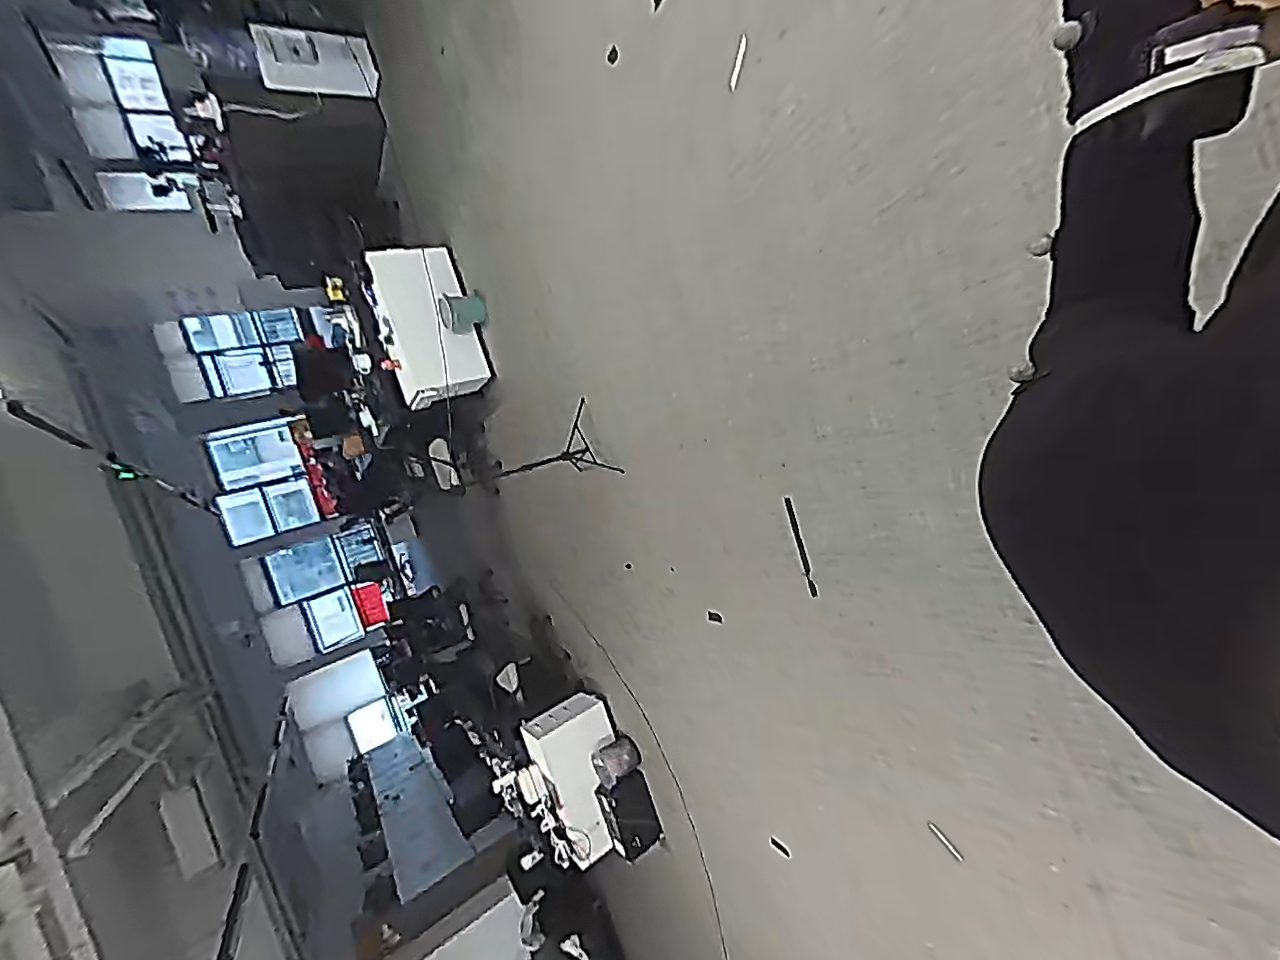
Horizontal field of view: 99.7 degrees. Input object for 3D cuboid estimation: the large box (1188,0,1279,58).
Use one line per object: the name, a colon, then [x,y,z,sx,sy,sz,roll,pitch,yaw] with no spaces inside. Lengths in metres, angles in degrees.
large box: [0.556,-0.479,0.243,0.408,0.320,0.320,8,117,51]
